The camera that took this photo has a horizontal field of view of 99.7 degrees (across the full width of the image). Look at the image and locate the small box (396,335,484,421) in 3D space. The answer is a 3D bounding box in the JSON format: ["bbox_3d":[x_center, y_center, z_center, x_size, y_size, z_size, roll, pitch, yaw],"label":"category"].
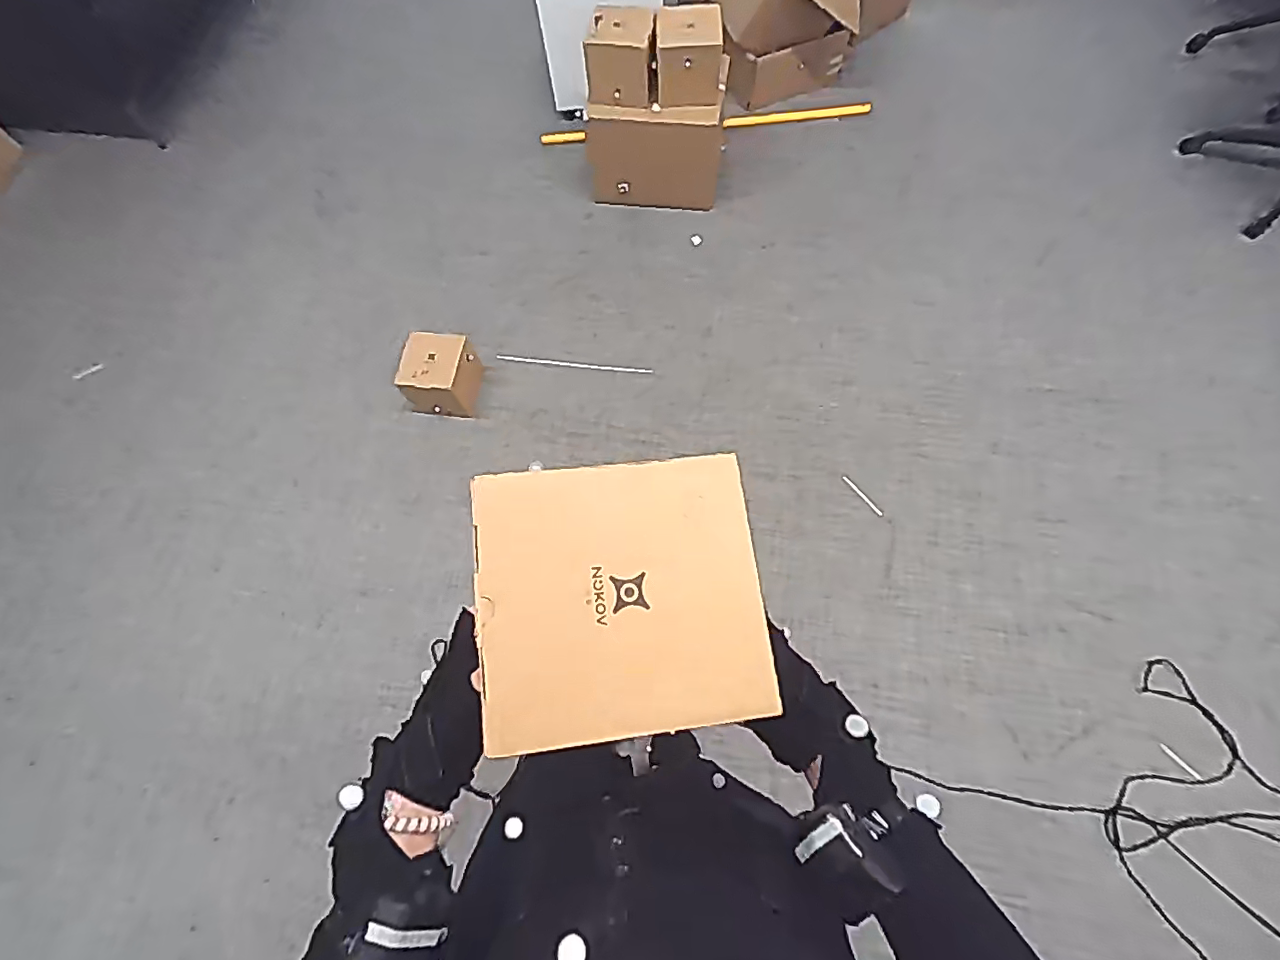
[{"bbox_3d":[-0.566,-0.291,1.561,0.168,0.176,0.179,6,69,6],"label":"small box"}]

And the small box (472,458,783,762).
[{"bbox_3d":[-0.016,0.090,0.403,0.179,0.176,0.168,-6,76,-6],"label":"small box"}]
